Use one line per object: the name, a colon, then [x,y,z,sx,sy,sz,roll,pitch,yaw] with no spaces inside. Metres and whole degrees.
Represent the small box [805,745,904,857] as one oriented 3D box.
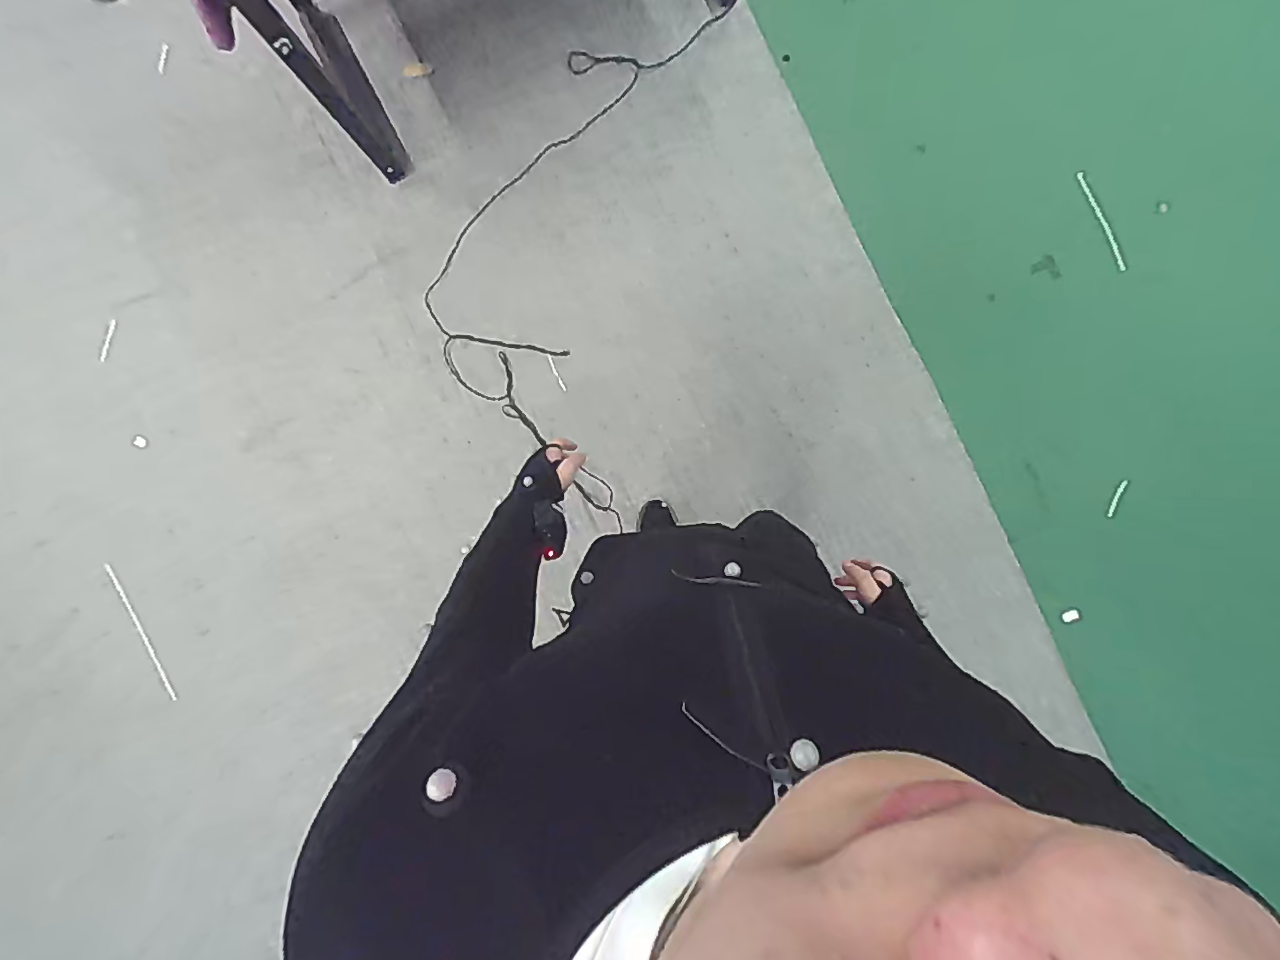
small box: [0.594,0.892,1.520,0.168,0.176,0.179,-33,90,2]
